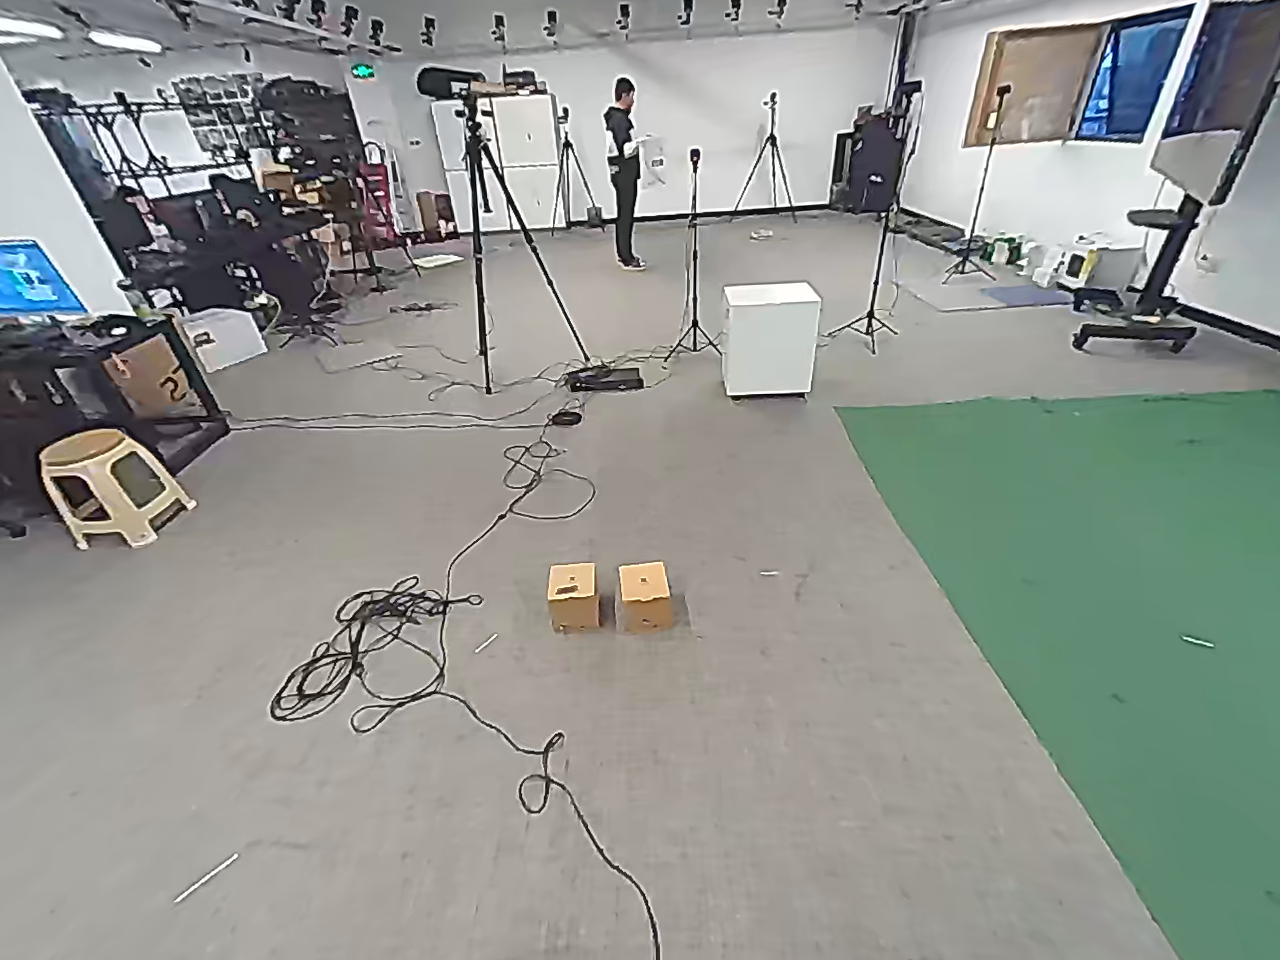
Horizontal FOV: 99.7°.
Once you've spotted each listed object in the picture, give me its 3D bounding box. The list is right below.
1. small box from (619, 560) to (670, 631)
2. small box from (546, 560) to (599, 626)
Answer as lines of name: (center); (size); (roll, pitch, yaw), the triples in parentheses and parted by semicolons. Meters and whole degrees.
small box: (0.015, 0.414, 1.943); (0.168, 0.176, 0.179); (-6, 35, -3)
small box: (-0.240, 0.415, 1.961); (0.168, 0.176, 0.179); (-4, 34, -1)
